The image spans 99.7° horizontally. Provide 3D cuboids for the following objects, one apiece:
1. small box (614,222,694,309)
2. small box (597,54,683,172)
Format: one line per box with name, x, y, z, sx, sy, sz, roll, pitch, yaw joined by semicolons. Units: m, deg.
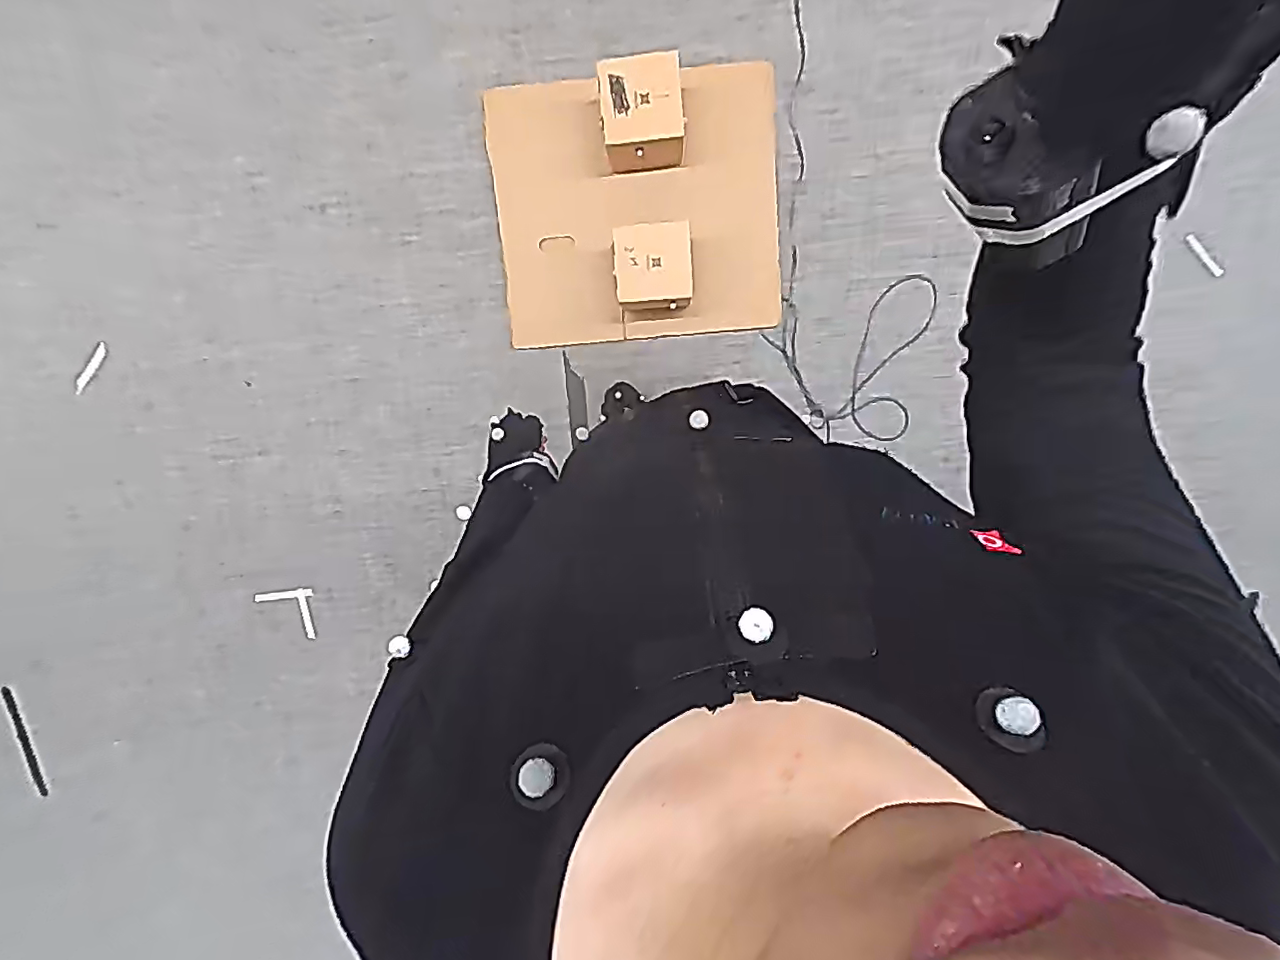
small box;0.035;-0.509;1.301;0.179;0.176;0.168;-3;101;4
small box;0.005;-0.828;1.237;0.179;0.176;0.168;-5;101;3
